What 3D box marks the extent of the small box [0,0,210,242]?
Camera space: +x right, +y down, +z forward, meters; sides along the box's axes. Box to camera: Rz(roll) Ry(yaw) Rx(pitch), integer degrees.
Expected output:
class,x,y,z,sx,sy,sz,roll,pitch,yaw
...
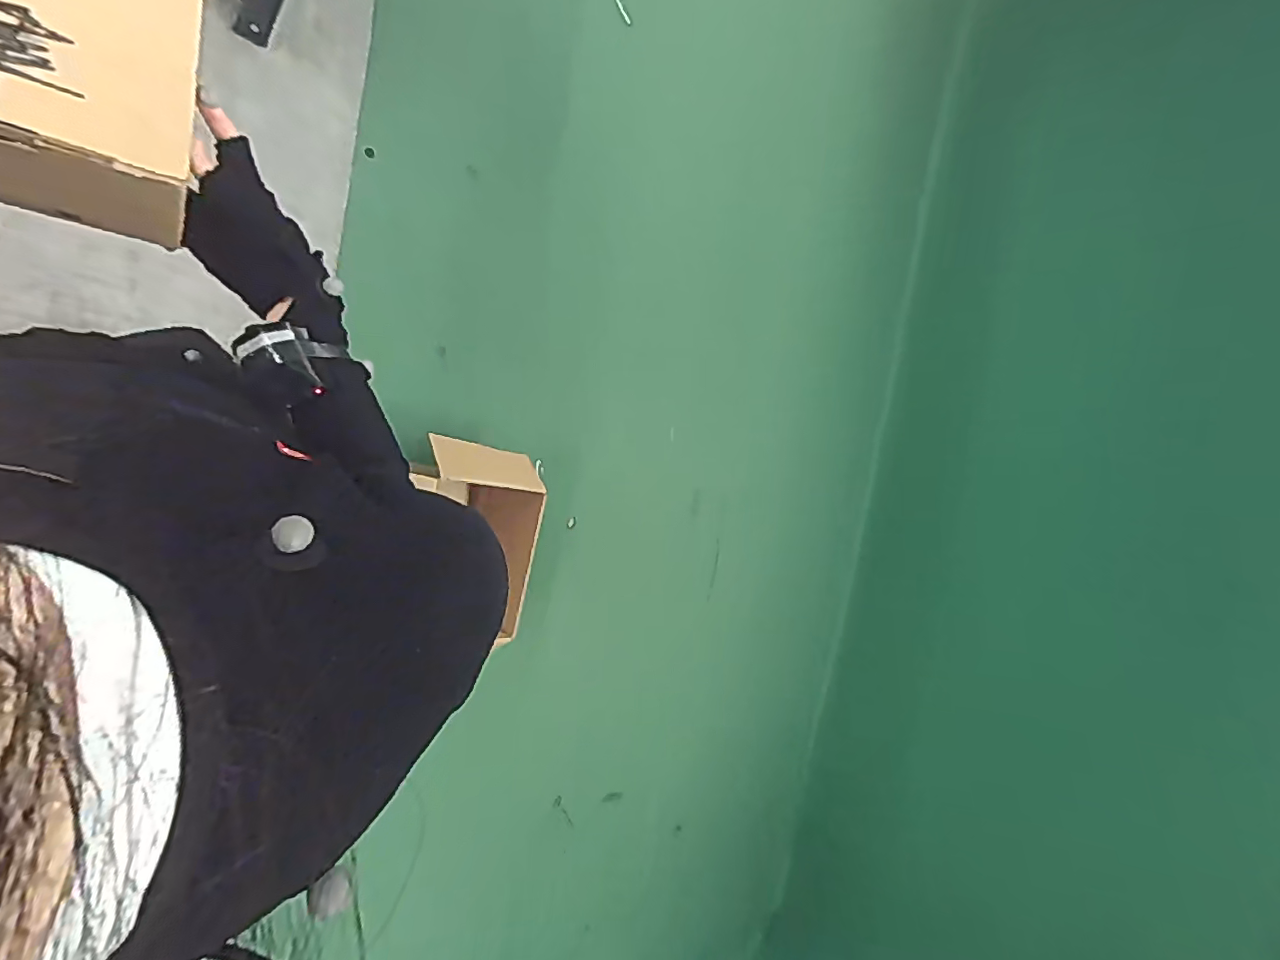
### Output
class,x,y,z,sx,sy,sz,roll,pitch,yaw
small box,-0.373,-0.269,0.327,0.168,0.176,0.179,4,92,-43
